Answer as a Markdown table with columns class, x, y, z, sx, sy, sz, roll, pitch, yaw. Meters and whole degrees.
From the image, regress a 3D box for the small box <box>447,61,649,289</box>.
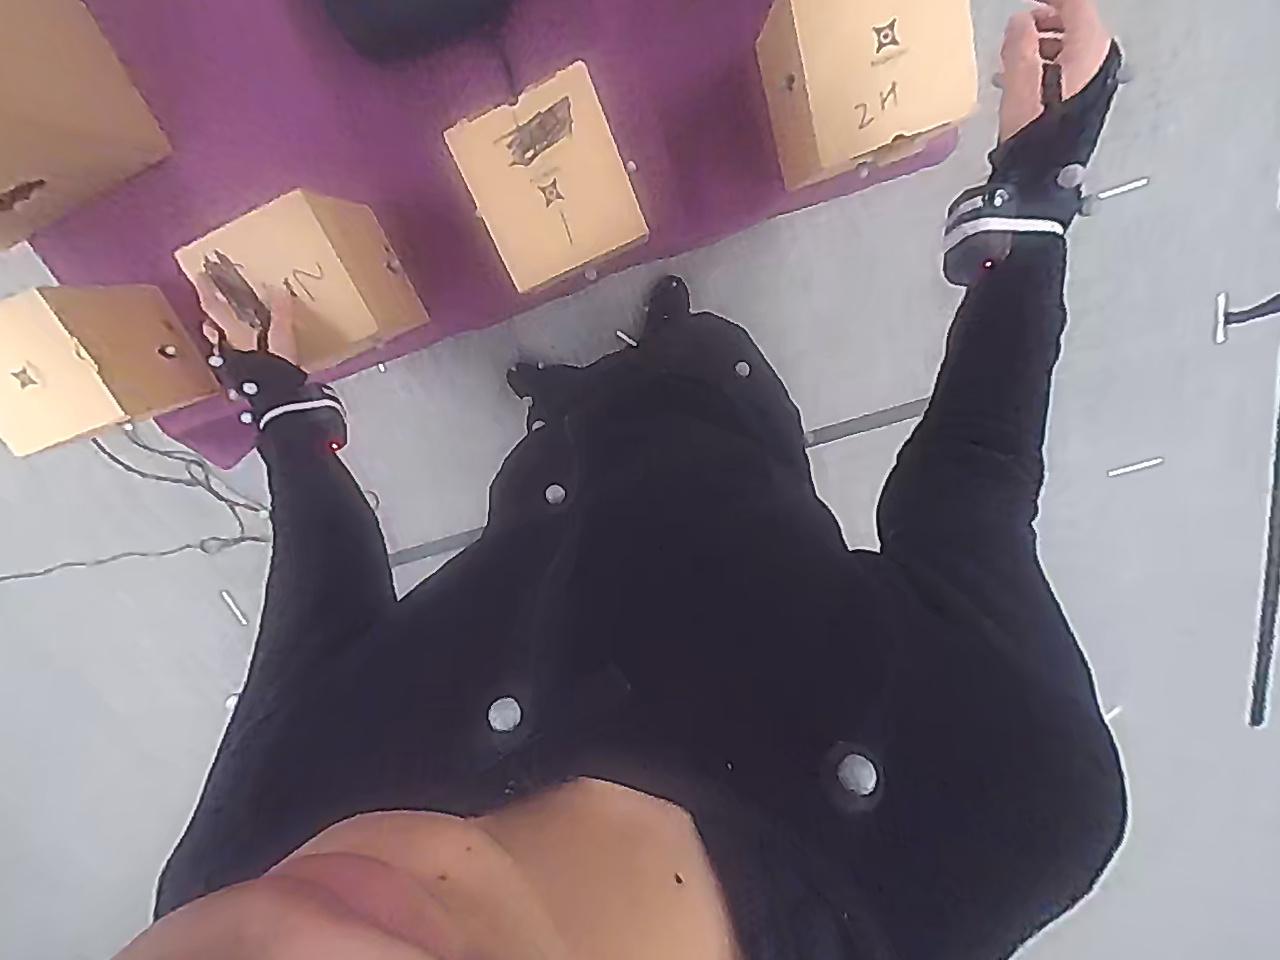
| class | x | y | z | sx | sy | sz | roll | pitch | yaw |
| --- | --- | --- | --- | --- | --- | --- | --- | --- | --- |
| small box | -0.097 | -0.349 | 0.656 | 0.168 | 0.176 | 0.179 | -21 | 110 | 9 |

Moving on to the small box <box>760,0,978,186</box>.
| class | x | y | z | sx | sy | sz | roll | pitch | yaw |
| --- | --- | --- | --- | --- | --- | --- | --- | --- | --- |
| small box | 0.243 | -0.458 | 0.606 | 0.168 | 0.176 | 0.179 | -16 | 110 | 8 |

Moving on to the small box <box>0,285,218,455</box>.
| class | x | y | z | sx | sy | sz | roll | pitch | yaw |
| --- | --- | --- | --- | --- | --- | --- | --- | --- | --- |
| small box | -0.748 | -0.156 | 0.740 | 0.179 | 0.176 | 0.168 | -19 | 110 | 7 |
